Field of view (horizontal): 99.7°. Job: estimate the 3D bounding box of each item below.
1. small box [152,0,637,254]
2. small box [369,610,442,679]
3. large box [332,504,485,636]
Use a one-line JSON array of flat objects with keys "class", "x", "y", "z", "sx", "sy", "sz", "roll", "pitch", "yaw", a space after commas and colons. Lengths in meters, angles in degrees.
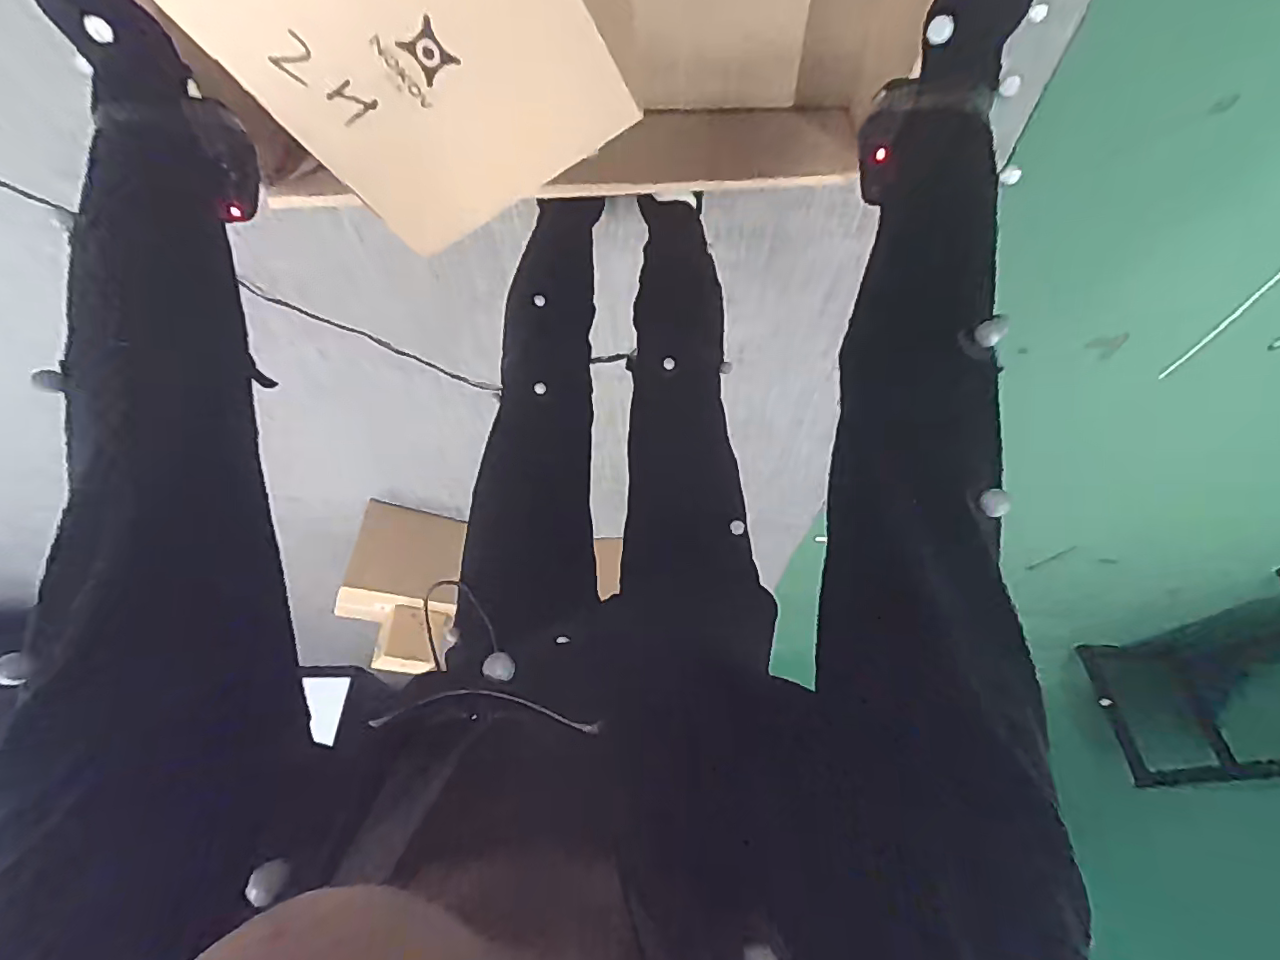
[{"class": "small box", "x": -0.117, "y": -0.280, "z": 0.313, "sx": 0.179, "sy": 0.176, "sz": 0.168, "roll": -18, "pitch": 143, "yaw": 24}, {"class": "small box", "x": -0.769, "y": 0.545, "z": 1.781, "sx": 0.168, "sy": 0.176, "sz": 0.179, "roll": 21, "pitch": 143, "yaw": -27}, {"class": "large box", "x": -0.800, "y": 0.325, "z": 1.891, "sx": 0.408, "sy": 0.320, "sz": 0.320, "roll": 19, "pitch": 142, "yaw": -23}]
